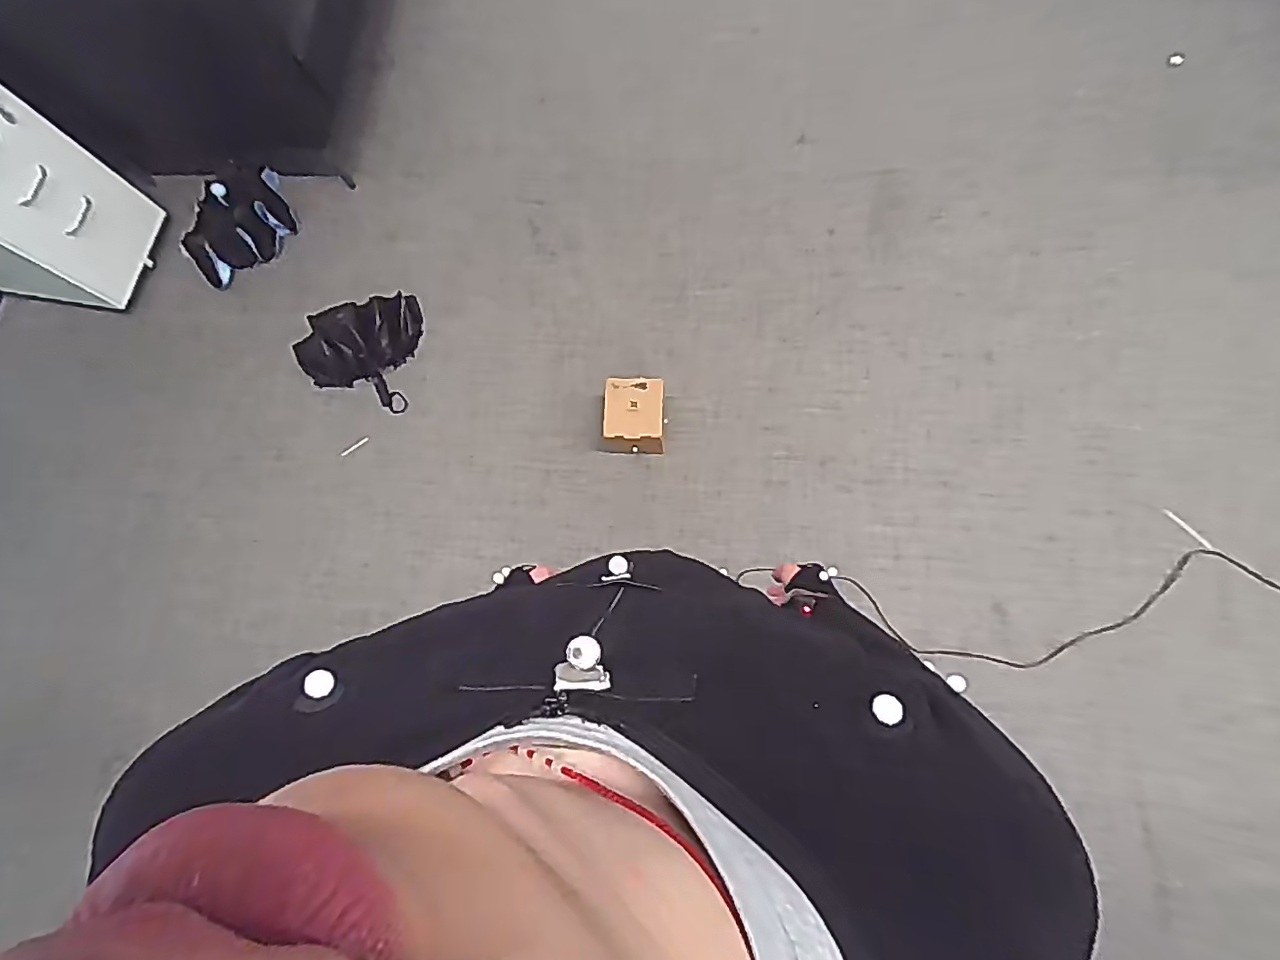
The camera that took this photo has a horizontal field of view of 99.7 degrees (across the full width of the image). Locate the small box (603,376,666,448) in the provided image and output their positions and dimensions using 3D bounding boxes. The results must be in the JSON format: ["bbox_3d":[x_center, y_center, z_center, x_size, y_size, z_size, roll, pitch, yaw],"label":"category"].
[{"bbox_3d":[-0.009,-0.195,1.589,0.168,0.176,0.179,1,79,6],"label":"small box"}]
